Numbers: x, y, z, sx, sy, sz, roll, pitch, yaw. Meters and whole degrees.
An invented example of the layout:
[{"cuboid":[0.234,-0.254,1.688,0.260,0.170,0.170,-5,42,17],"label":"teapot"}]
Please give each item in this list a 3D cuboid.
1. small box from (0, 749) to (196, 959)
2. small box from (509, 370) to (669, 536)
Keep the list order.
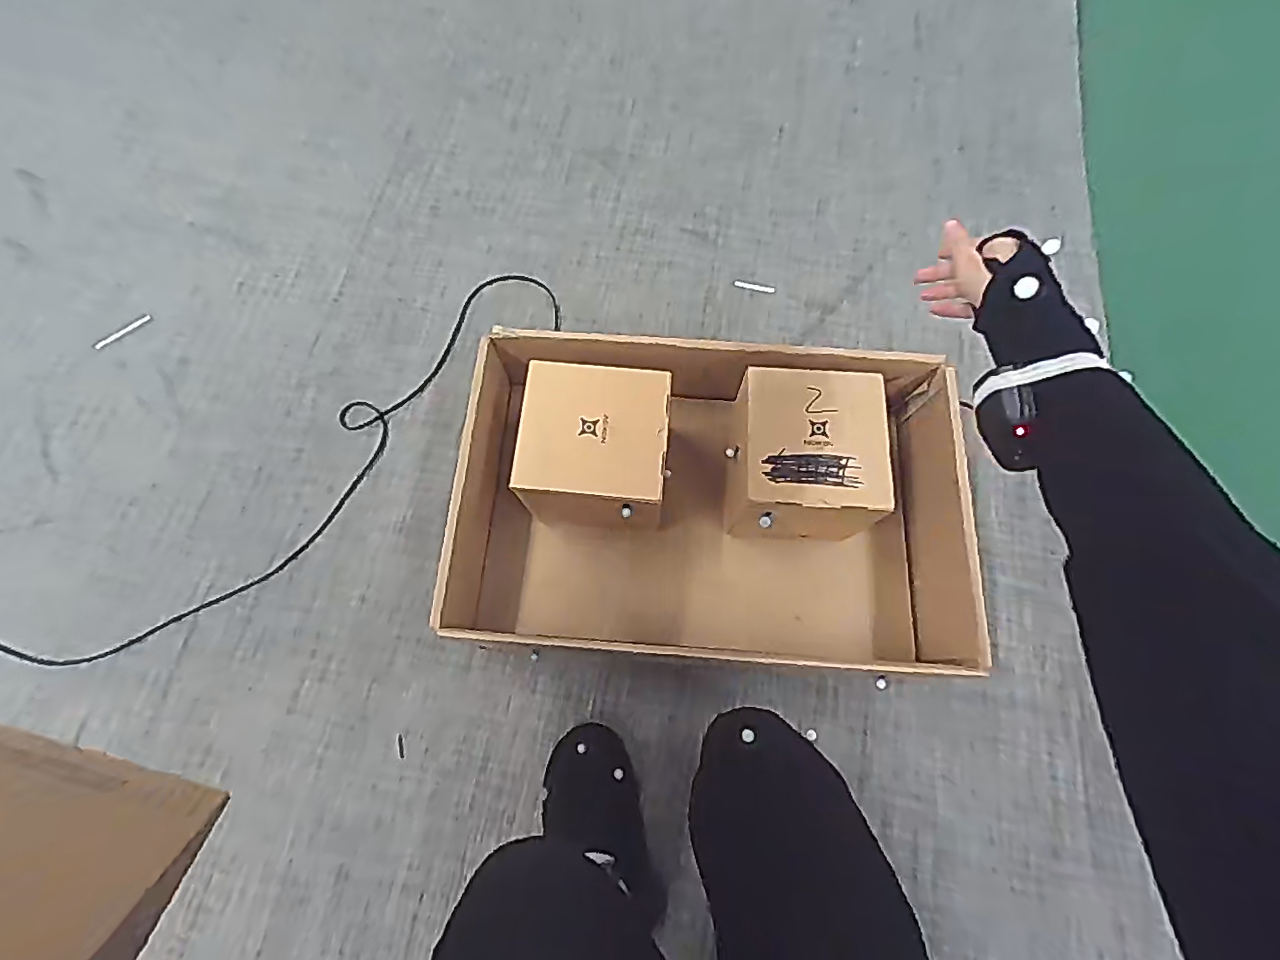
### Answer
[{"cuboid":[-0.291,0.198,0.168,0.168,0.176,0.179,29,73,-14],"label":"small box"},{"cuboid":[-0.058,-0.027,0.713,0.179,0.176,0.168,5,72,0],"label":"small box"}]
